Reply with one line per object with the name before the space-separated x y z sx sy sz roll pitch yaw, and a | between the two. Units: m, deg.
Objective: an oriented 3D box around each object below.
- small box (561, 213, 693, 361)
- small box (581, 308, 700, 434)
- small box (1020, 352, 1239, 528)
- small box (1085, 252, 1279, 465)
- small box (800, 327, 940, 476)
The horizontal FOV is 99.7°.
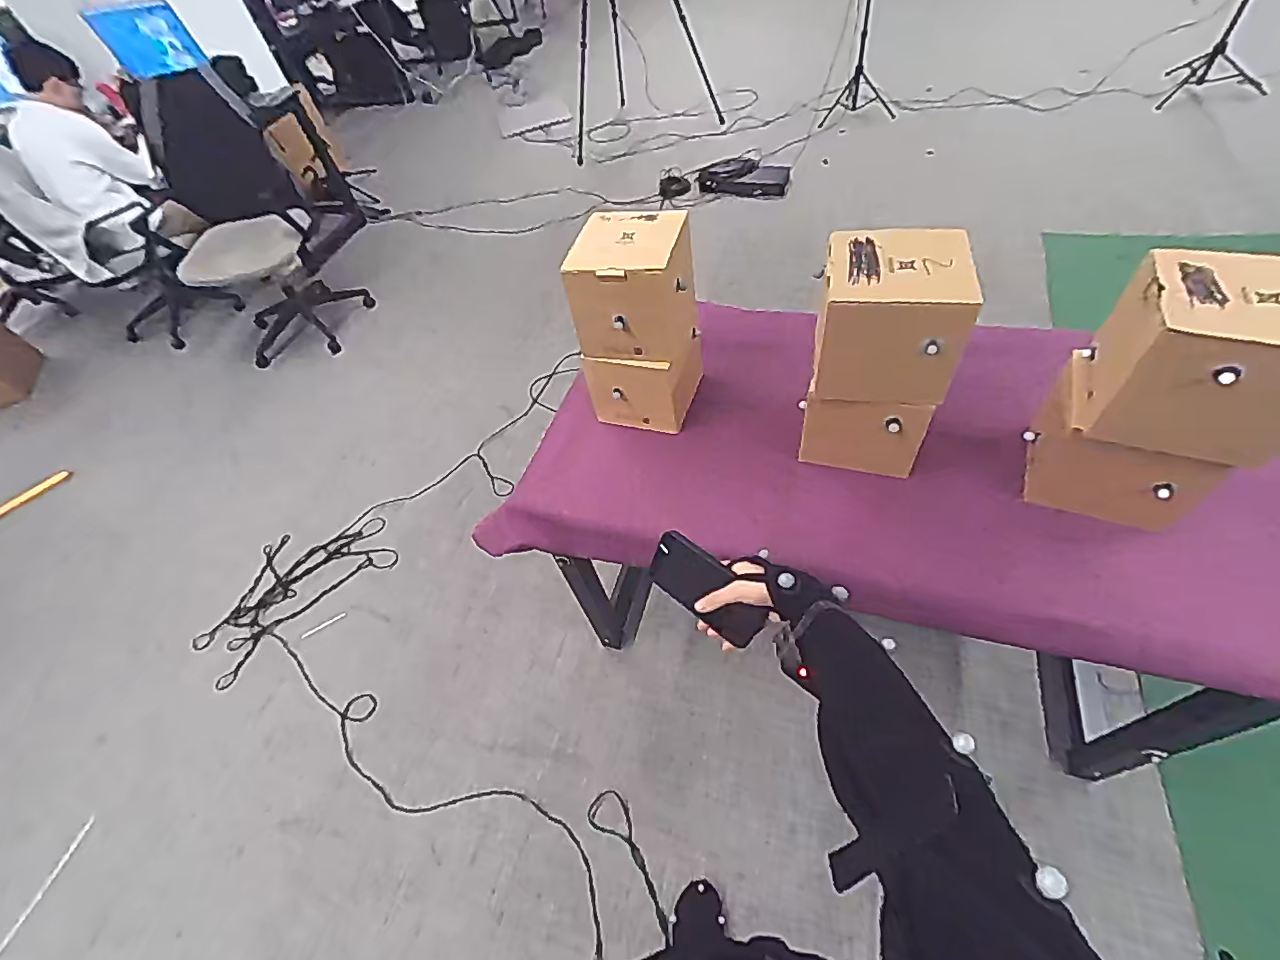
small box | -0.009 -0.317 0.898 0.168 0.176 0.179 7 55 15
small box | 0.013 -0.210 1.022 0.168 0.176 0.179 11 55 19
small box | 0.683 -0.054 0.773 0.179 0.176 0.168 16 56 22
small box | 0.662 -0.140 0.635 0.179 0.176 0.168 16 57 21
small box | 0.370 -0.125 0.887 0.179 0.176 0.168 11 55 18
